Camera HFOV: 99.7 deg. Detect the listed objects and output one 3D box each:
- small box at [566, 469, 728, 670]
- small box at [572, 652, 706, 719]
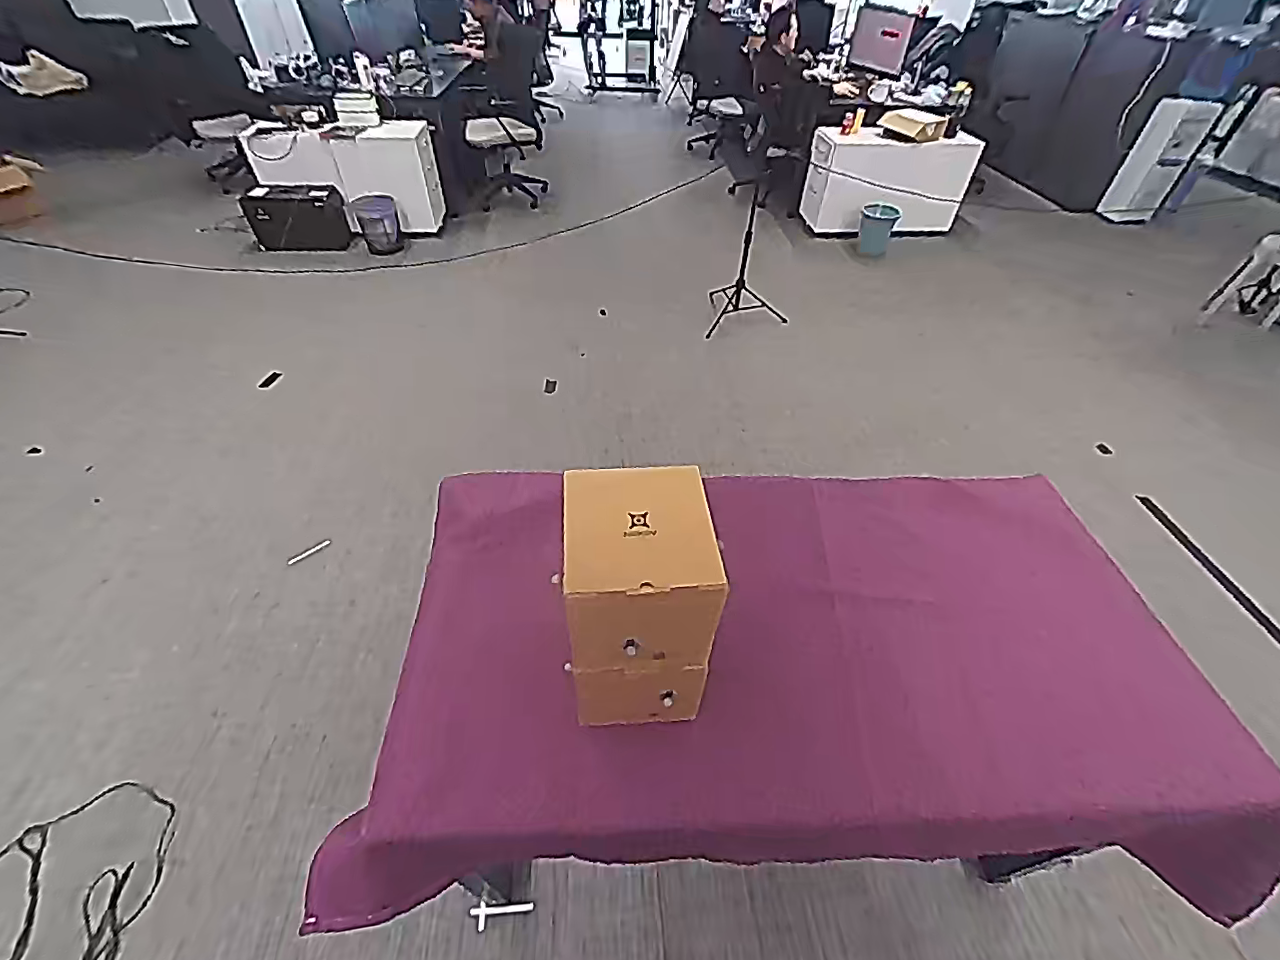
[{"bbox_3d":[-0.004,0.106,0.652,0.168,0.176,0.179,-2,47,-6],"label":"small box"},{"bbox_3d":[-0.005,0.224,0.763,0.168,0.176,0.179,-1,45,-4],"label":"small box"}]
